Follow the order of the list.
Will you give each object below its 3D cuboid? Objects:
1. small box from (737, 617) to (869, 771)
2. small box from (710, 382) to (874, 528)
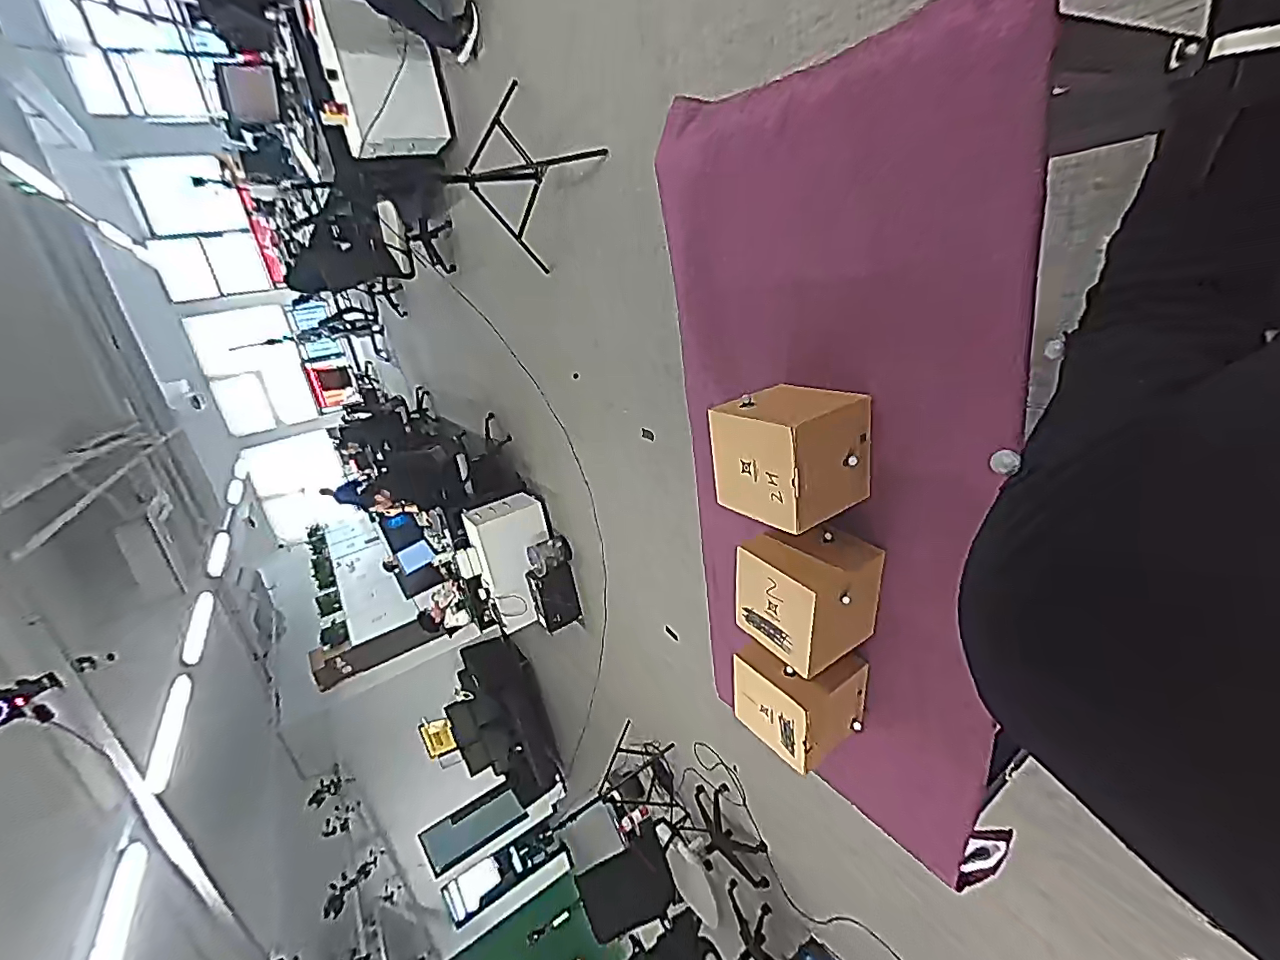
[{"bbox_3d":[0.304,0.389,1.018,0.179,0.176,0.168,29,132,50],"label":"small box"},{"bbox_3d":[0.234,-0.050,0.841,0.179,0.176,0.168,24,129,54],"label":"small box"}]
